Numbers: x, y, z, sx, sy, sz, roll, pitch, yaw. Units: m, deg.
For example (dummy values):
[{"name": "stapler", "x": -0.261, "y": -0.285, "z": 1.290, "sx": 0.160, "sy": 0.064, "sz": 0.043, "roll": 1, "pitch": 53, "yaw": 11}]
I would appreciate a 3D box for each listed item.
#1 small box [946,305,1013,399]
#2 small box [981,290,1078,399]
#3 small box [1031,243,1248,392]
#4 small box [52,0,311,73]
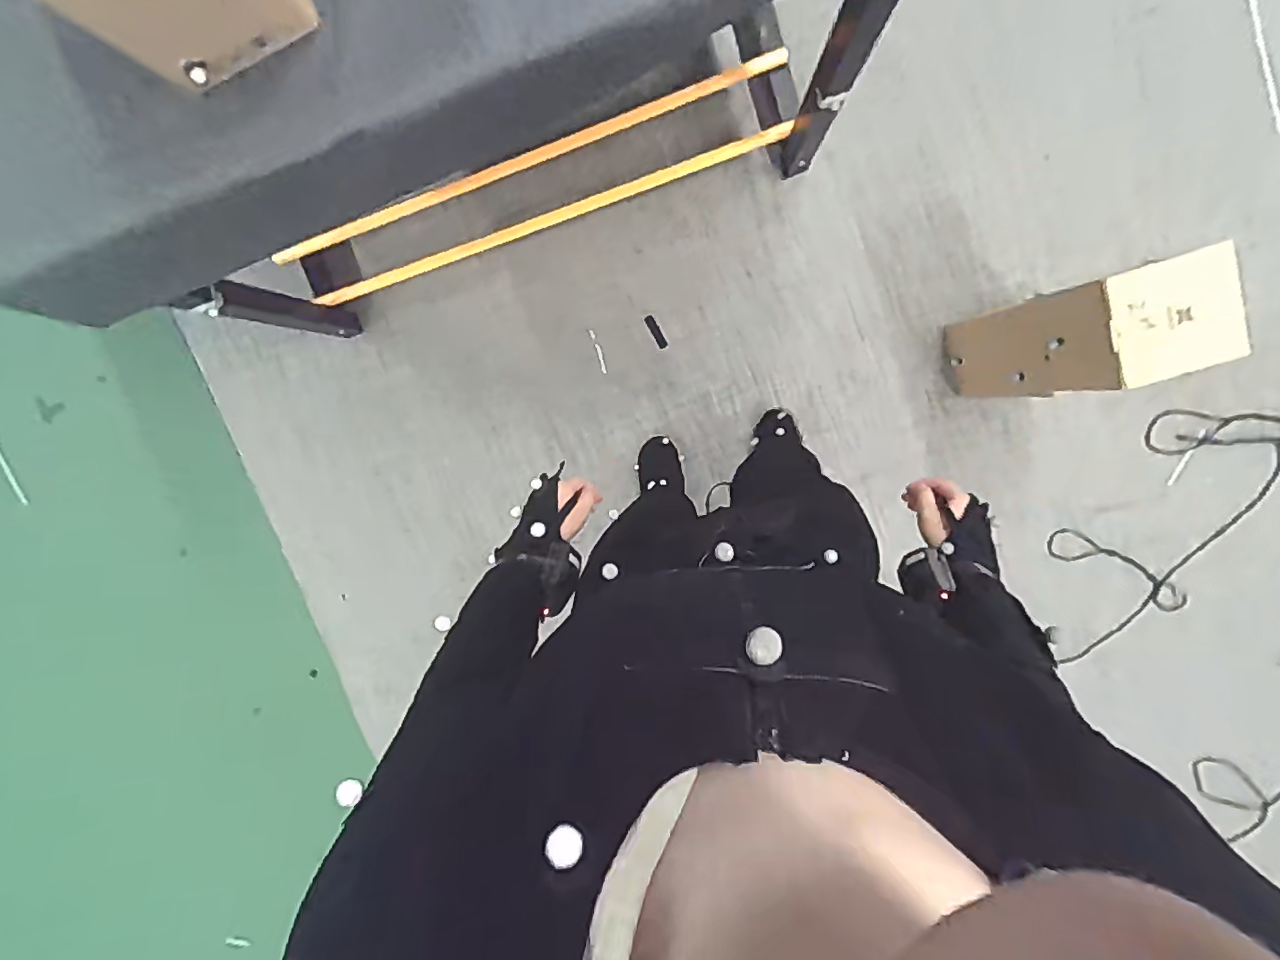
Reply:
[{"name": "small box", "x": 0.795, "y": -0.282, "z": 1.168, "sx": 0.168, "sy": 0.176, "sz": 0.179, "roll": -15, "pitch": 98, "yaw": 6}, {"name": "small box", "x": 0.778, "y": -0.259, "z": 1.008, "sx": 0.168, "sy": 0.176, "sz": 0.179, "roll": -18, "pitch": 96, "yaw": 6}, {"name": "small box", "x": 0.764, "y": -0.242, "z": 0.844, "sx": 0.179, "sy": 0.176, "sz": 0.168, "roll": -17, "pitch": 97, "yaw": 6}, {"name": "small box", "x": -0.446, "y": -0.518, "z": 0.489, "sx": 0.168, "sy": 0.176, "sz": 0.179, "roll": -22, "pitch": 95, "yaw": 7}]
